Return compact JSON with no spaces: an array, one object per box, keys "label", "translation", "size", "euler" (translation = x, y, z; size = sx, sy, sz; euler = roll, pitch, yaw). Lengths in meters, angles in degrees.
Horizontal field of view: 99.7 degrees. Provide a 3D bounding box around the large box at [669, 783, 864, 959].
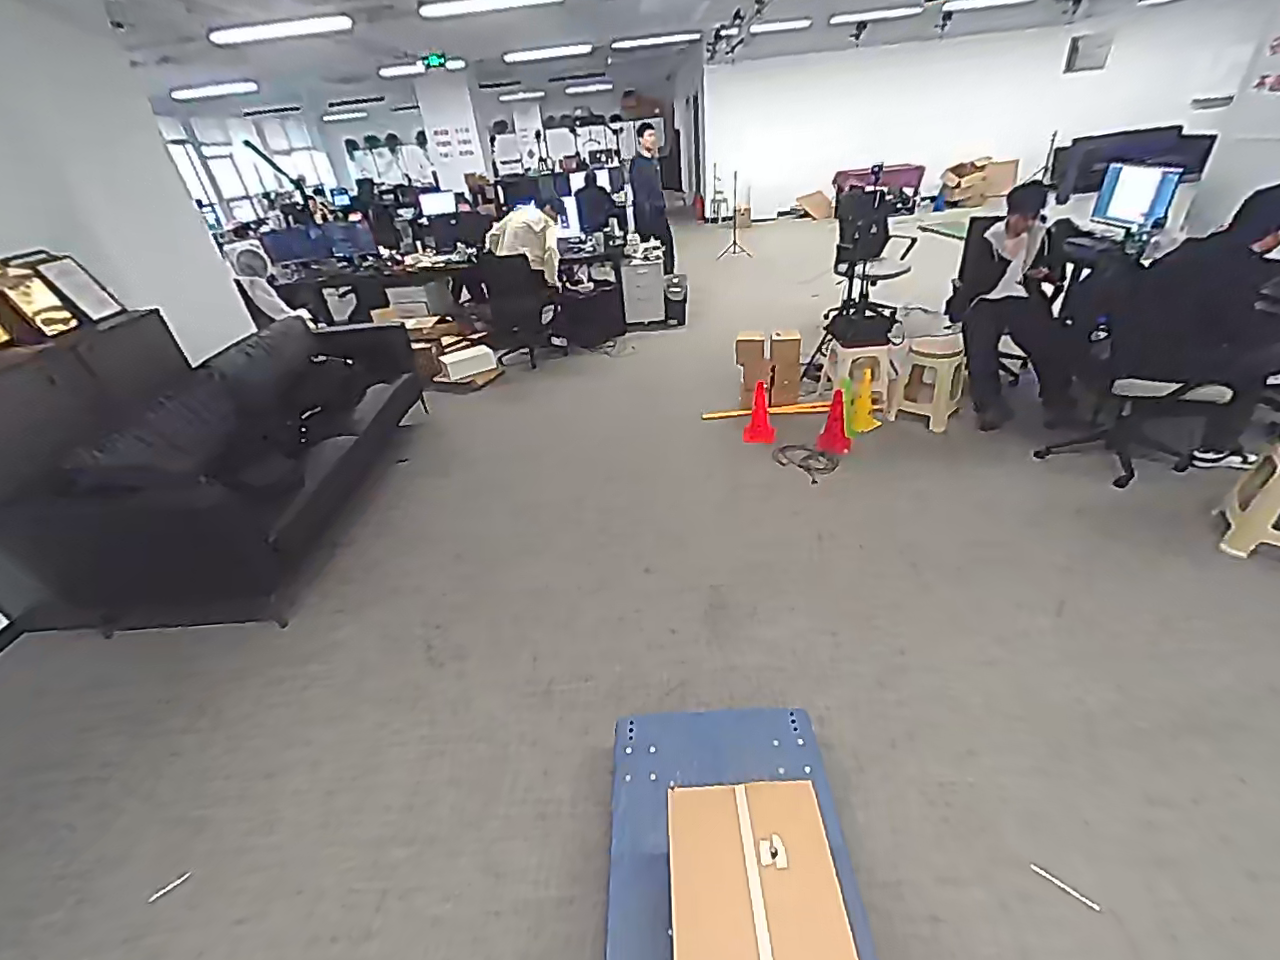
[{"label":"large box","translation":[0.234,0.889,1.062],"size":[0.320,0.320,0.408],"euler":[-5,32,3]}]
